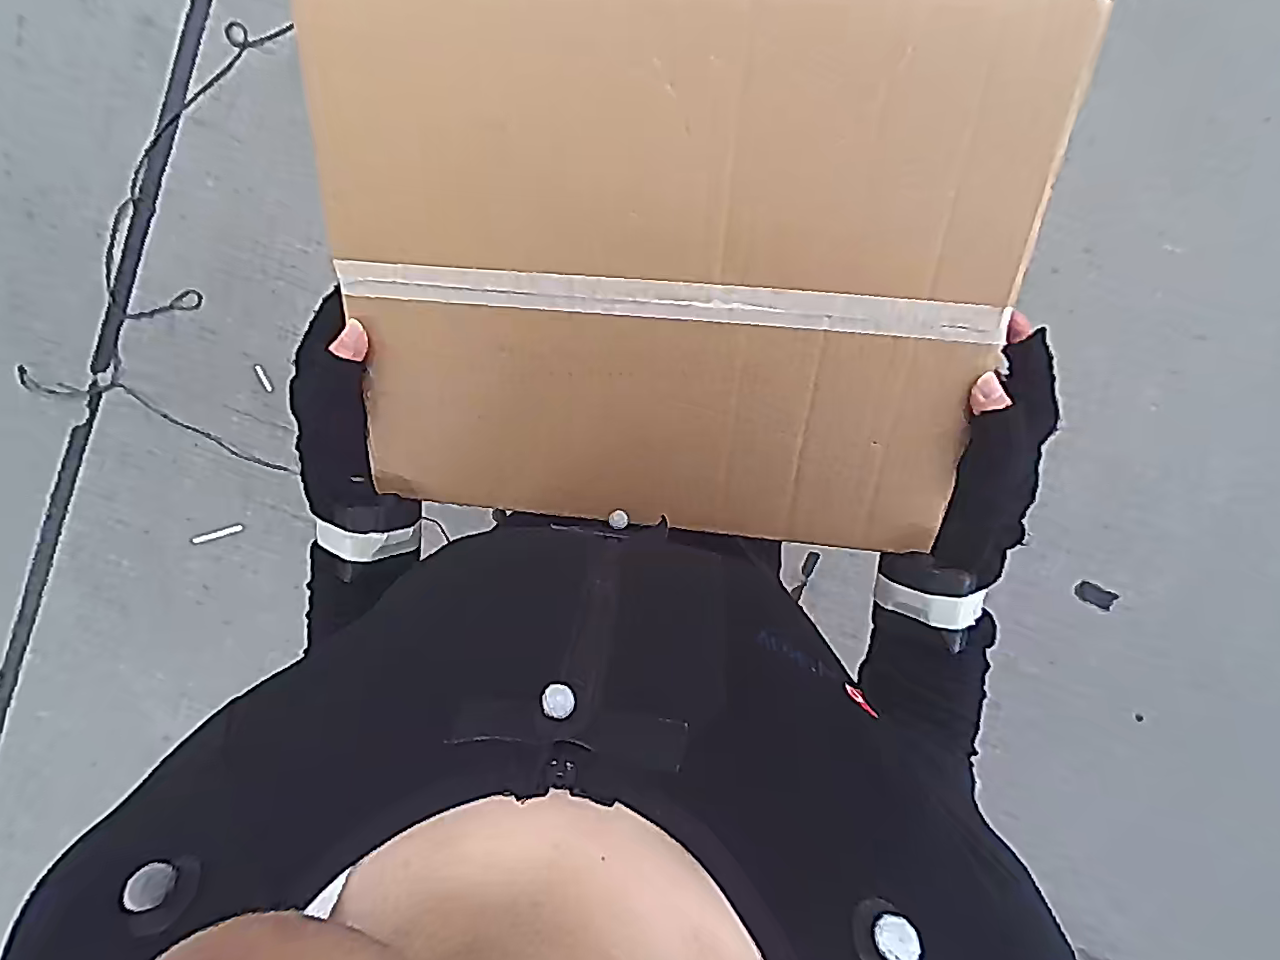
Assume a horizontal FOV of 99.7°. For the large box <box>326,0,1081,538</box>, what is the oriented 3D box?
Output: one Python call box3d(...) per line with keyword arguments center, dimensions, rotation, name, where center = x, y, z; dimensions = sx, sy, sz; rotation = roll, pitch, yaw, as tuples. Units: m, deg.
box3d(center=(0.030, -0.172, 0.478), dimensions=(0.408, 0.320, 0.320), rotation=(5, 116, 4), name="large box")
